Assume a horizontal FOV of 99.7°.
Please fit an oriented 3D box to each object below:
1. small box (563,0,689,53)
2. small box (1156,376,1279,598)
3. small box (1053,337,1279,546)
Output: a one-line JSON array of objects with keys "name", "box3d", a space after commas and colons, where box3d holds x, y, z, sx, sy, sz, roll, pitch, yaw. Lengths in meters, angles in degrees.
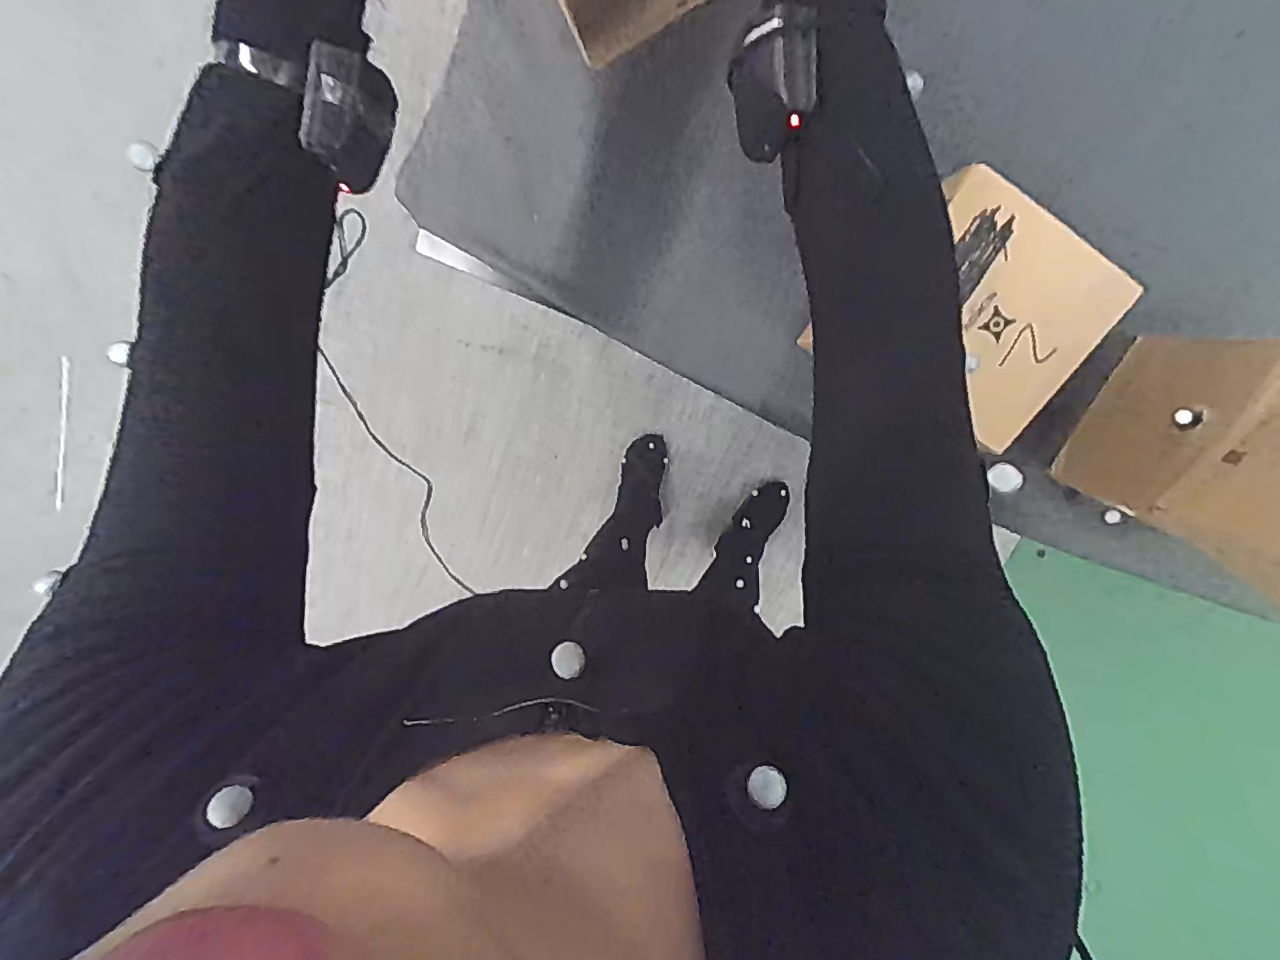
[{"name": "small box", "box3d": [-0.022, -0.511, 0.438, 0.168, 0.176, 0.179, -25, 102, 12]}, {"name": "small box", "box3d": [0.555, 0.024, 0.385, 0.179, 0.176, 0.168, 35, 105, -4]}, {"name": "small box", "box3d": [0.572, -0.032, 0.536, 0.168, 0.176, 0.179, 24, 106, -2]}]
